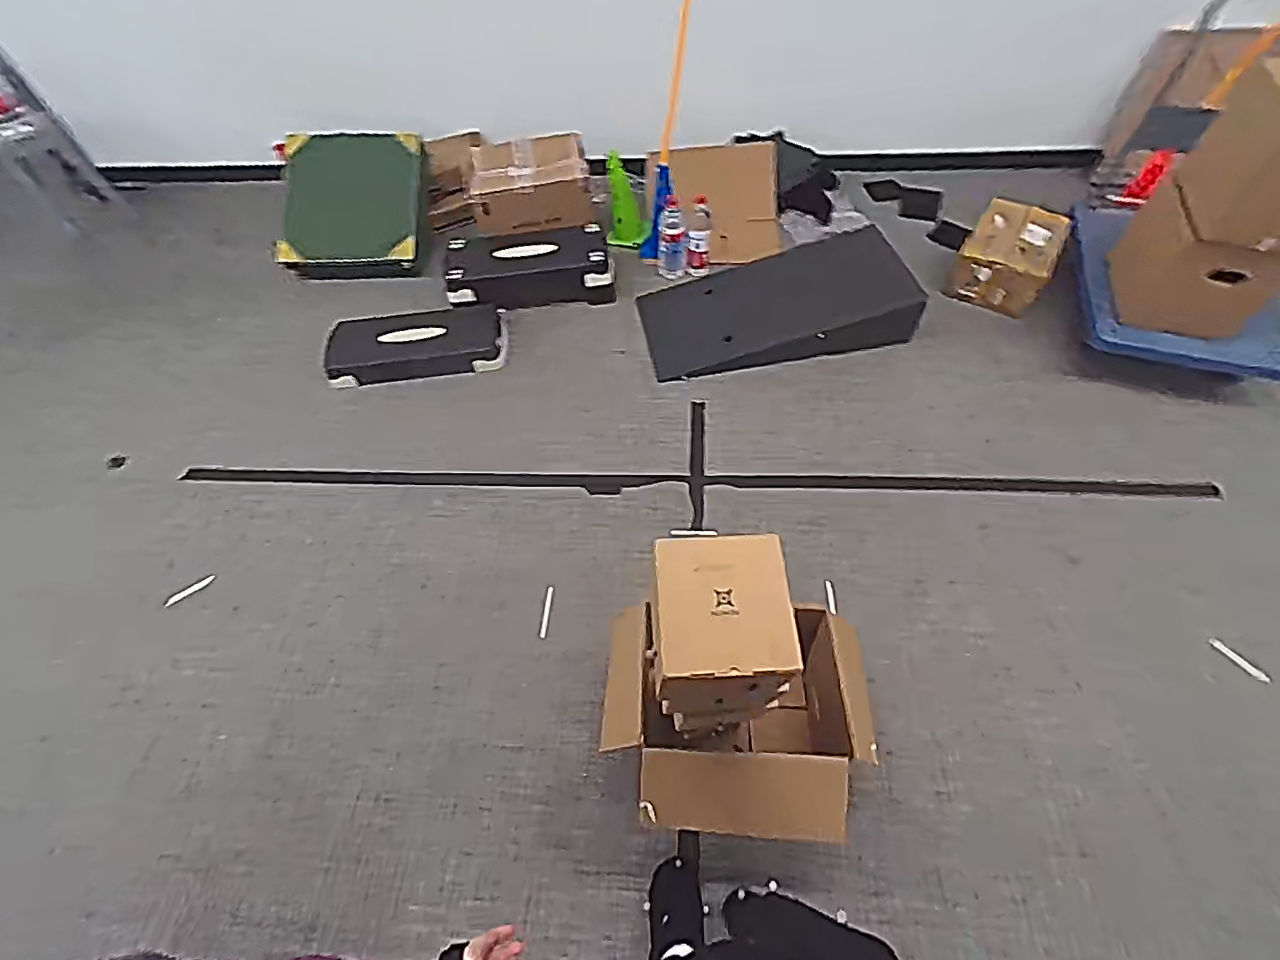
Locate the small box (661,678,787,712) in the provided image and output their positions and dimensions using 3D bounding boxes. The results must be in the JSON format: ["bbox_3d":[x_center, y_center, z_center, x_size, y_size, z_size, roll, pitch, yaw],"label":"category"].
[{"bbox_3d":[0.119,0.273,0.871,0.179,0.176,0.168,-2,60,-2],"label":"small box"}]

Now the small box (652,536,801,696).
[{"bbox_3d":[0.102,0.190,0.731,0.168,0.176,0.179,-1,59,-2],"label":"small box"}]

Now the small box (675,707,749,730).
[{"bbox_3d":[0.148,0.422,1.165,0.179,0.176,0.168,-14,60,-10],"label":"small box"}]
